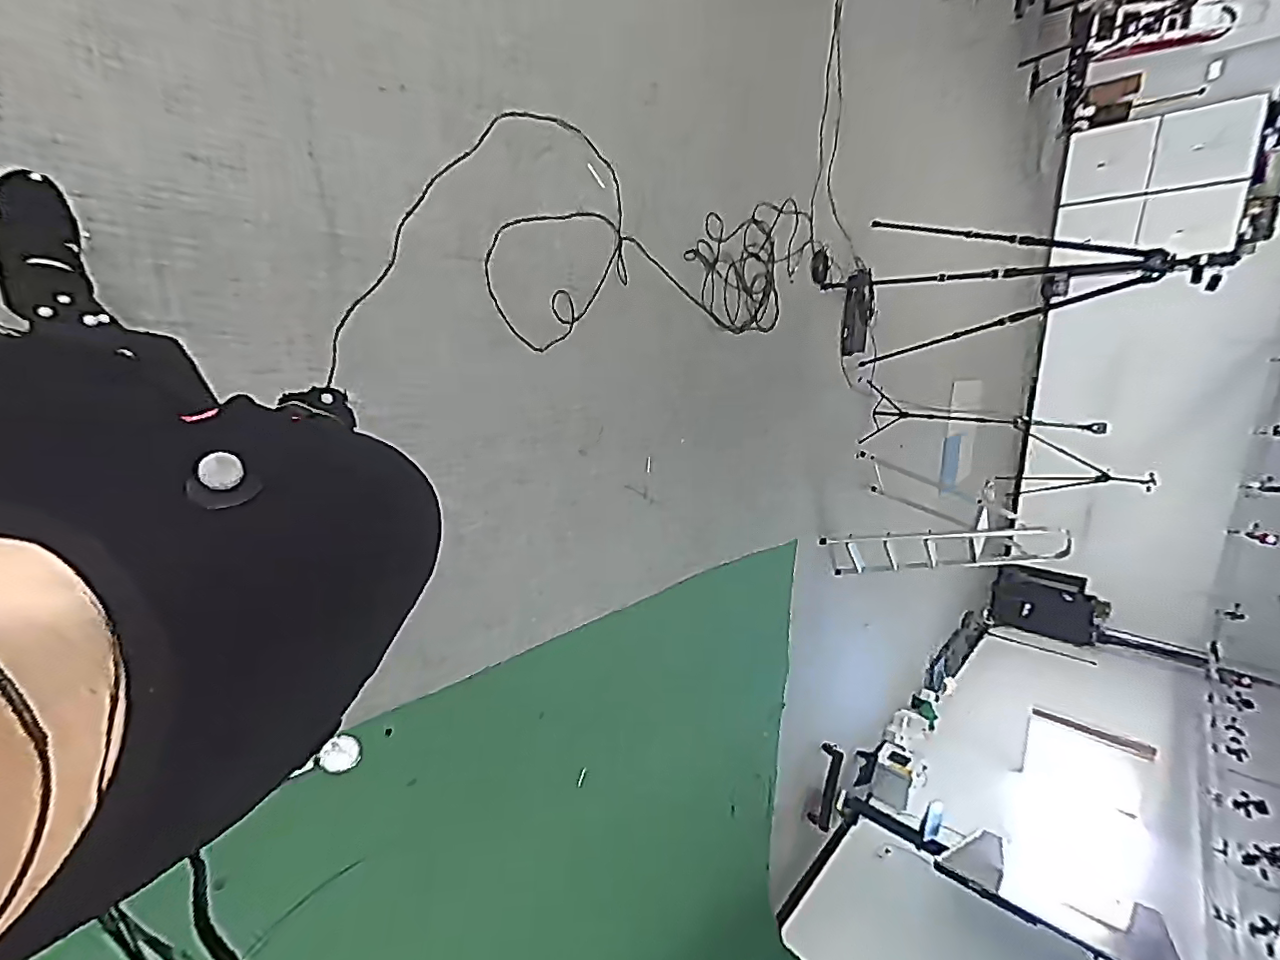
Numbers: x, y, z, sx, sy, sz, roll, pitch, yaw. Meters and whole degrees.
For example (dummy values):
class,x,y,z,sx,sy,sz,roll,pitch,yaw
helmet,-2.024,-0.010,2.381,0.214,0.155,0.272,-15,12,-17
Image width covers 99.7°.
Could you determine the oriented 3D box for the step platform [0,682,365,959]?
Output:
class,x,y,z,sx,sy,sz,roll,pitch,yaw
step platform,-0.905,0.649,1.001,0.684,0.204,0.286,-13,107,-46
